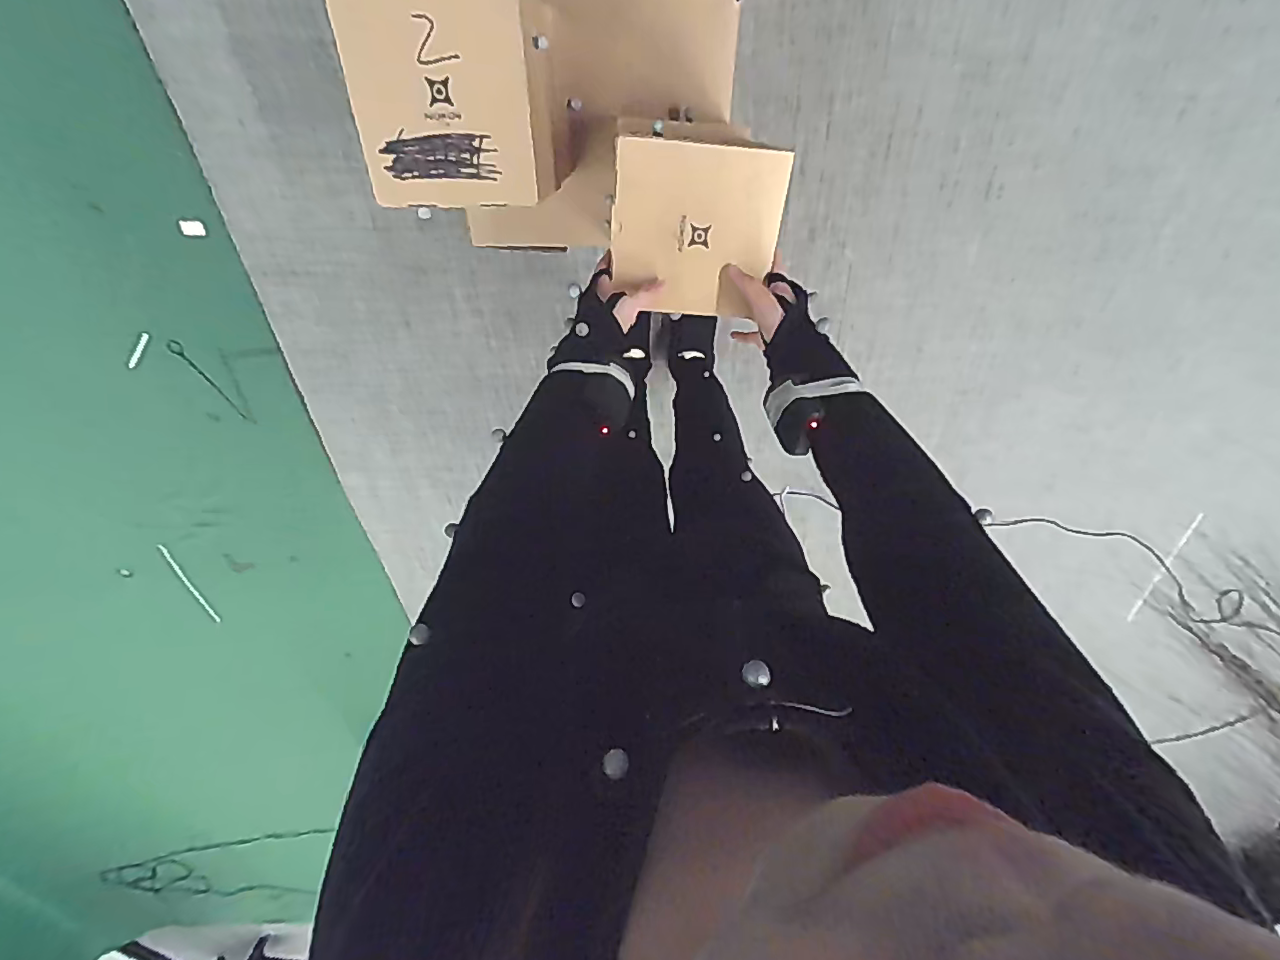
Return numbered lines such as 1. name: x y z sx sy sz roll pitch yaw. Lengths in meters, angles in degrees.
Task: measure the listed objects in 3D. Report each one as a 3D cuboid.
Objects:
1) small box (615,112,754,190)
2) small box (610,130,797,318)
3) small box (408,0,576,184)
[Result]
1. small box: 0.049 -0.402 0.755 0.168 0.176 0.179 2 124 -4
2. small box: 0.059 -0.299 0.624 0.179 0.176 0.168 4 123 -2
3. small box: -0.174 -0.491 0.694 0.168 0.176 0.179 3 124 -1
